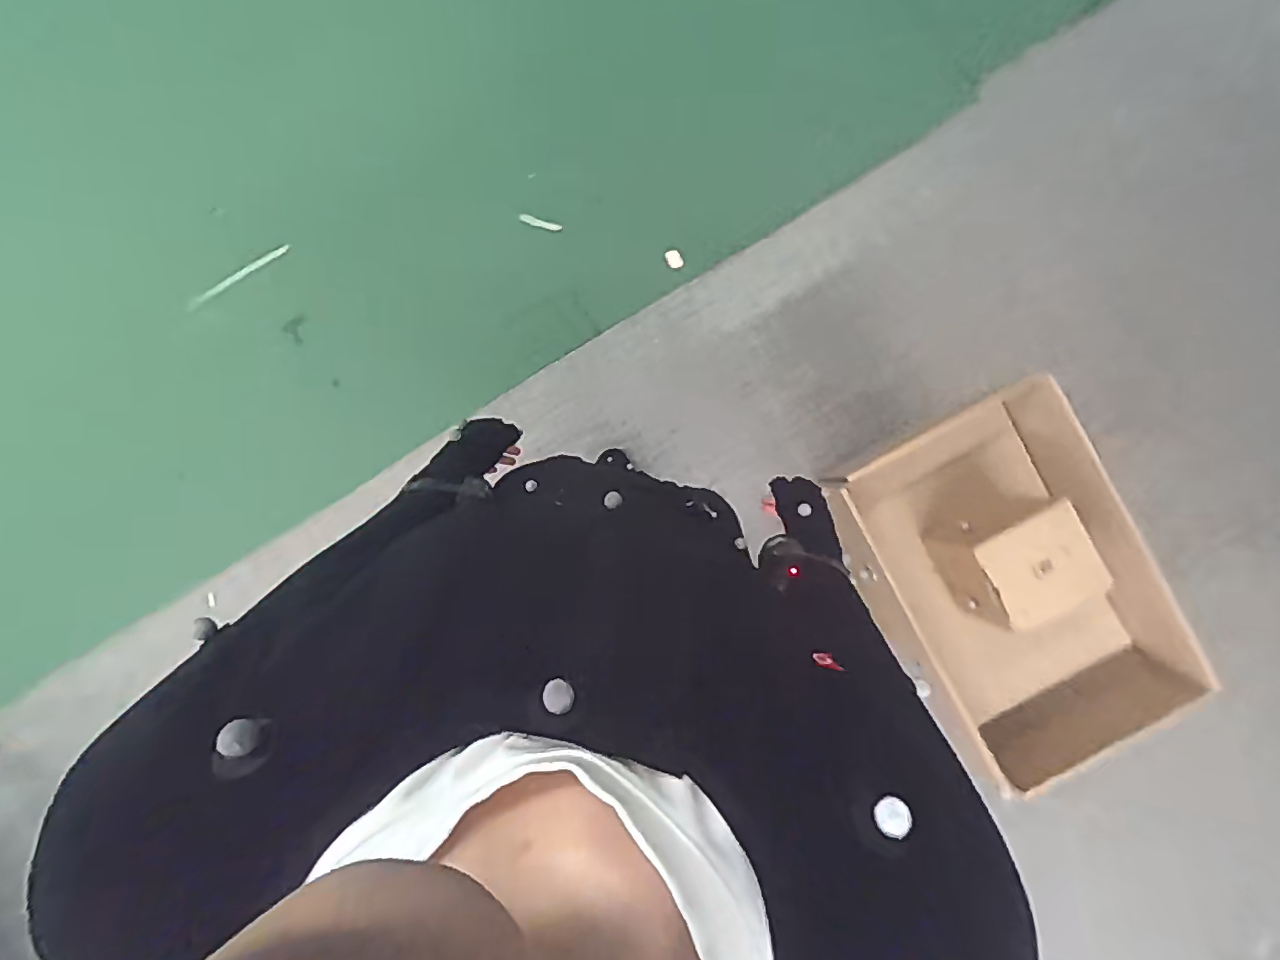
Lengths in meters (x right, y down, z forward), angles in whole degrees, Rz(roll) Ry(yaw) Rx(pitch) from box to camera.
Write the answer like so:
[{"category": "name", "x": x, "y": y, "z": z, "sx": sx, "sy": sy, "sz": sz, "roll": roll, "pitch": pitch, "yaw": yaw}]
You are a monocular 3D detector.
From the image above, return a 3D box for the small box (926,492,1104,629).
[{"category": "small box", "x": 0.645, "y": 0.133, "z": 0.959, "sx": 0.179, "sy": 0.176, "sz": 0.168, "roll": -29, "pitch": 93, "yaw": 0}]
